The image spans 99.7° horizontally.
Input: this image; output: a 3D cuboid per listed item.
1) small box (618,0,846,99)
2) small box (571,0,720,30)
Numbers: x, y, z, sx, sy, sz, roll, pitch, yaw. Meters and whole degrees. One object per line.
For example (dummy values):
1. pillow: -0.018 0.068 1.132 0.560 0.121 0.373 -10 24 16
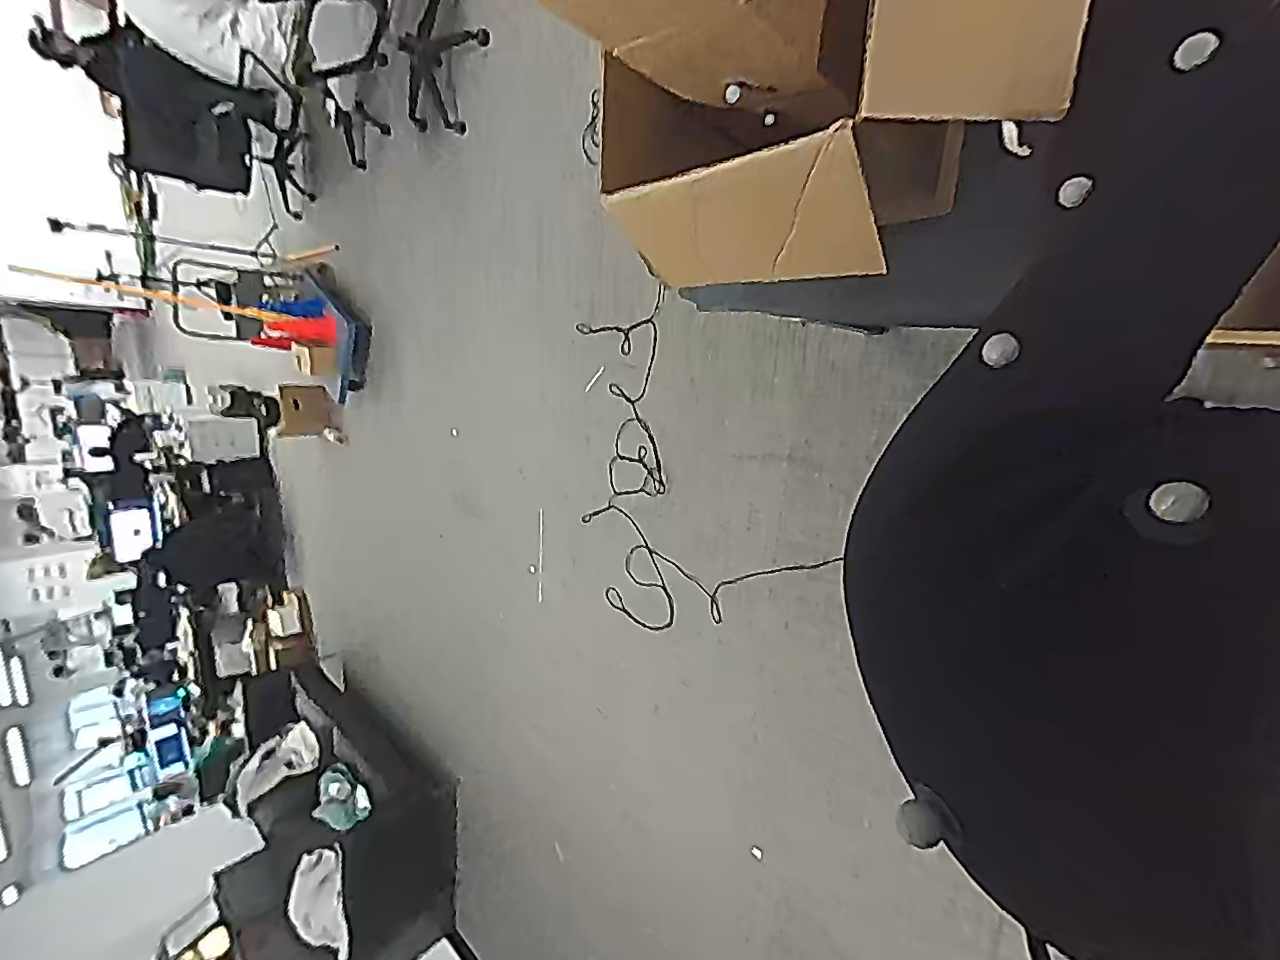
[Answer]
1. small box: 0.100 -0.518 0.534 0.168 0.176 0.179 19 111 38
2. small box: -0.009 -0.493 0.416 0.179 0.176 0.168 19 110 38
